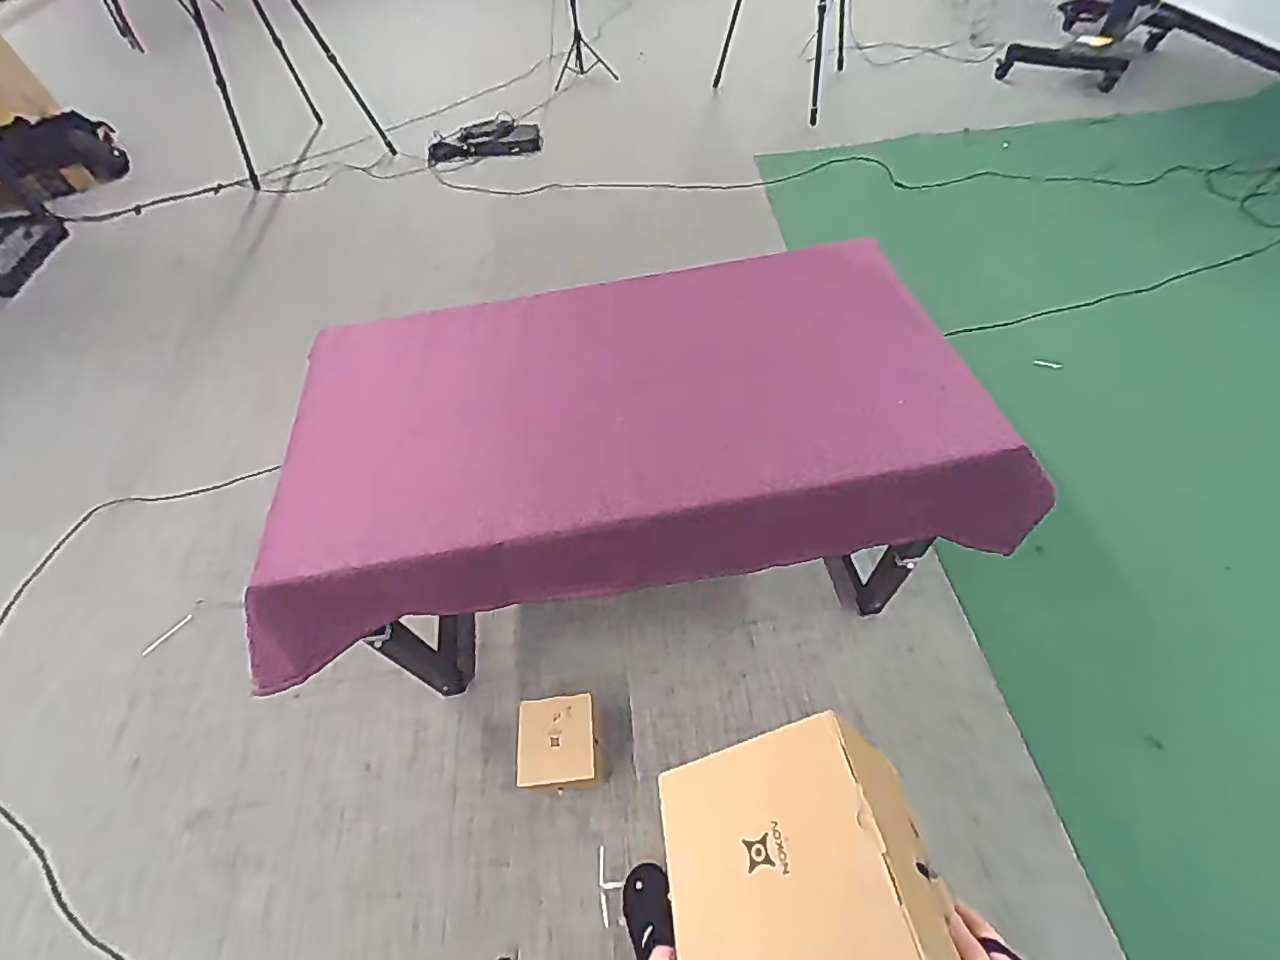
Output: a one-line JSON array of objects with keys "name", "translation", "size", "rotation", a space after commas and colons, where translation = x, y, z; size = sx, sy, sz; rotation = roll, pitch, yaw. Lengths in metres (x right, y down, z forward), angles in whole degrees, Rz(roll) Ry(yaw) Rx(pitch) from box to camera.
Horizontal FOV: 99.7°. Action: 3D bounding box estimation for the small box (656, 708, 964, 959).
[{"name": "small box", "translation": [0.136, 0.334, 0.464], "size": [0.179, 0.176, 0.168], "rotation": [-31, 35, 17]}]
